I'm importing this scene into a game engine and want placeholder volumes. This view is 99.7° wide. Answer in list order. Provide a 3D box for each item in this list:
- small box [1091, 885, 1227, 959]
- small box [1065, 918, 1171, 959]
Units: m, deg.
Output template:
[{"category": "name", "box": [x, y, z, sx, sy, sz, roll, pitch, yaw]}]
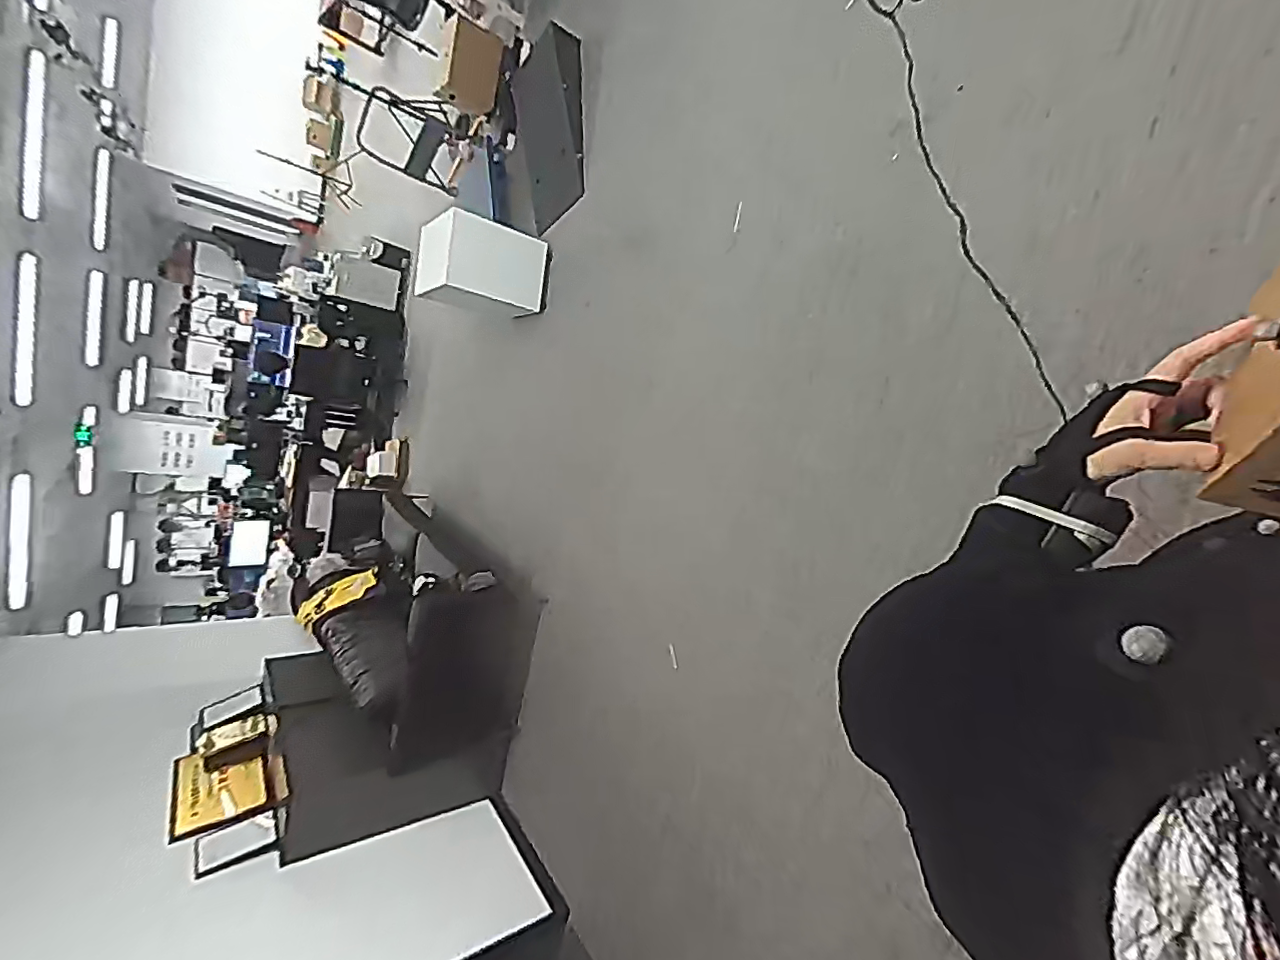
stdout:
[{"category": "small box", "box": [0.988, 0.936, 1.048, 0.179, 0.176, 0.168, 18, 100, 49]}, {"category": "small box", "box": [0.857, 0.925, 0.948, 0.179, 0.176, 0.168, 19, 102, 49]}]
